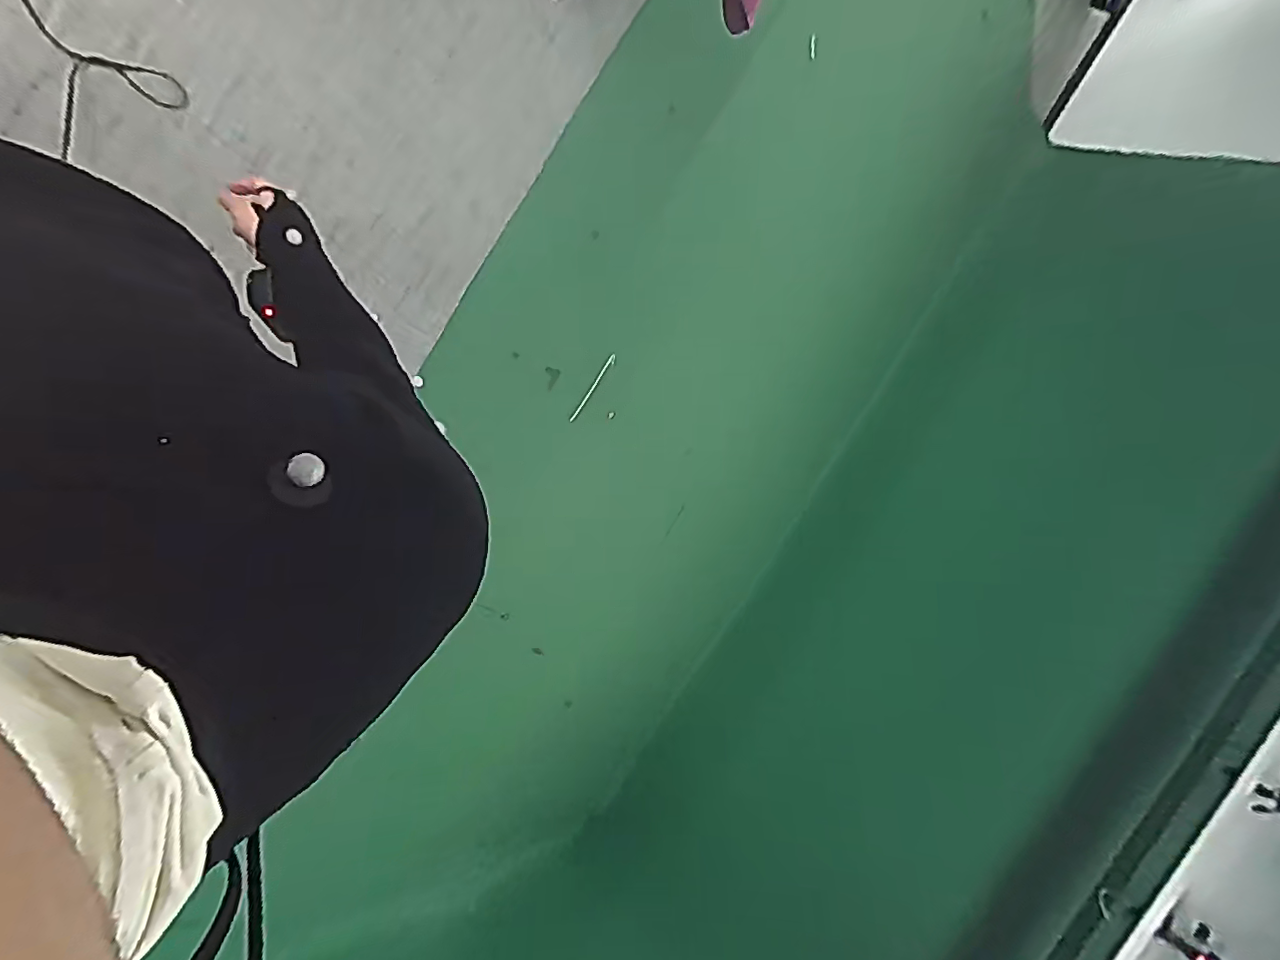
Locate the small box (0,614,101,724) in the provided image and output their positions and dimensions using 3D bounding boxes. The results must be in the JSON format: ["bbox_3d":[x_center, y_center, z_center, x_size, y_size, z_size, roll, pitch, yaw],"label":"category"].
[{"bbox_3d":[-1.418,0.444,1.269,0.179,0.176,0.168,-56,143,-1],"label":"small box"}]
